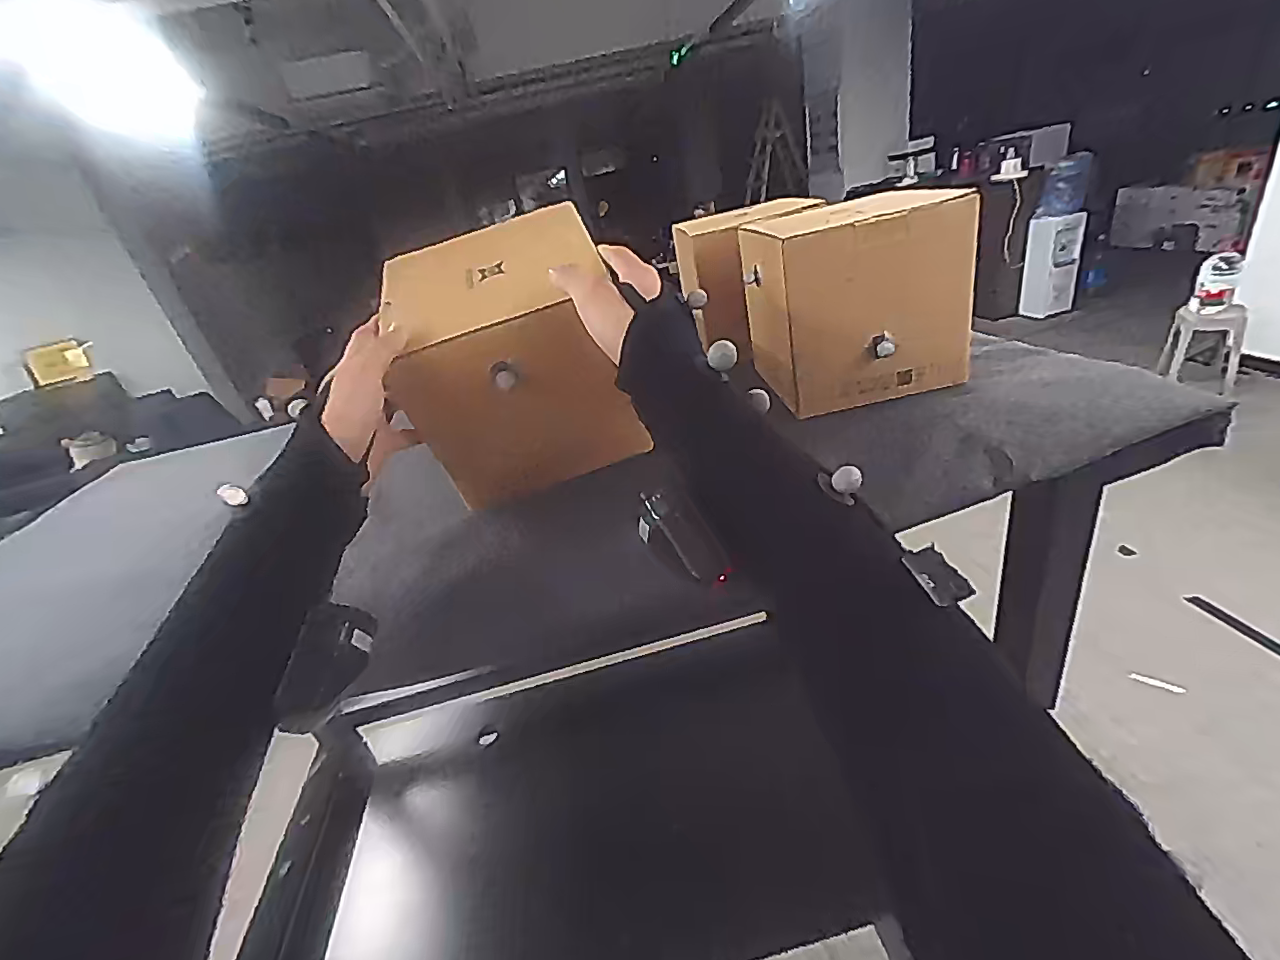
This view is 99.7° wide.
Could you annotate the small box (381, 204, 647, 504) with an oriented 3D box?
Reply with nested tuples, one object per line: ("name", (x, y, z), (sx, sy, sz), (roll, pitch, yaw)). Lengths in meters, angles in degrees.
("small box", (-0.100, -0.108, 0.483), (0.179, 0.176, 0.168), (-19, 48, -1))

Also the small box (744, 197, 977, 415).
("small box", (0.213, -0.184, 0.563), (0.168, 0.176, 0.179), (-12, 28, 3))
